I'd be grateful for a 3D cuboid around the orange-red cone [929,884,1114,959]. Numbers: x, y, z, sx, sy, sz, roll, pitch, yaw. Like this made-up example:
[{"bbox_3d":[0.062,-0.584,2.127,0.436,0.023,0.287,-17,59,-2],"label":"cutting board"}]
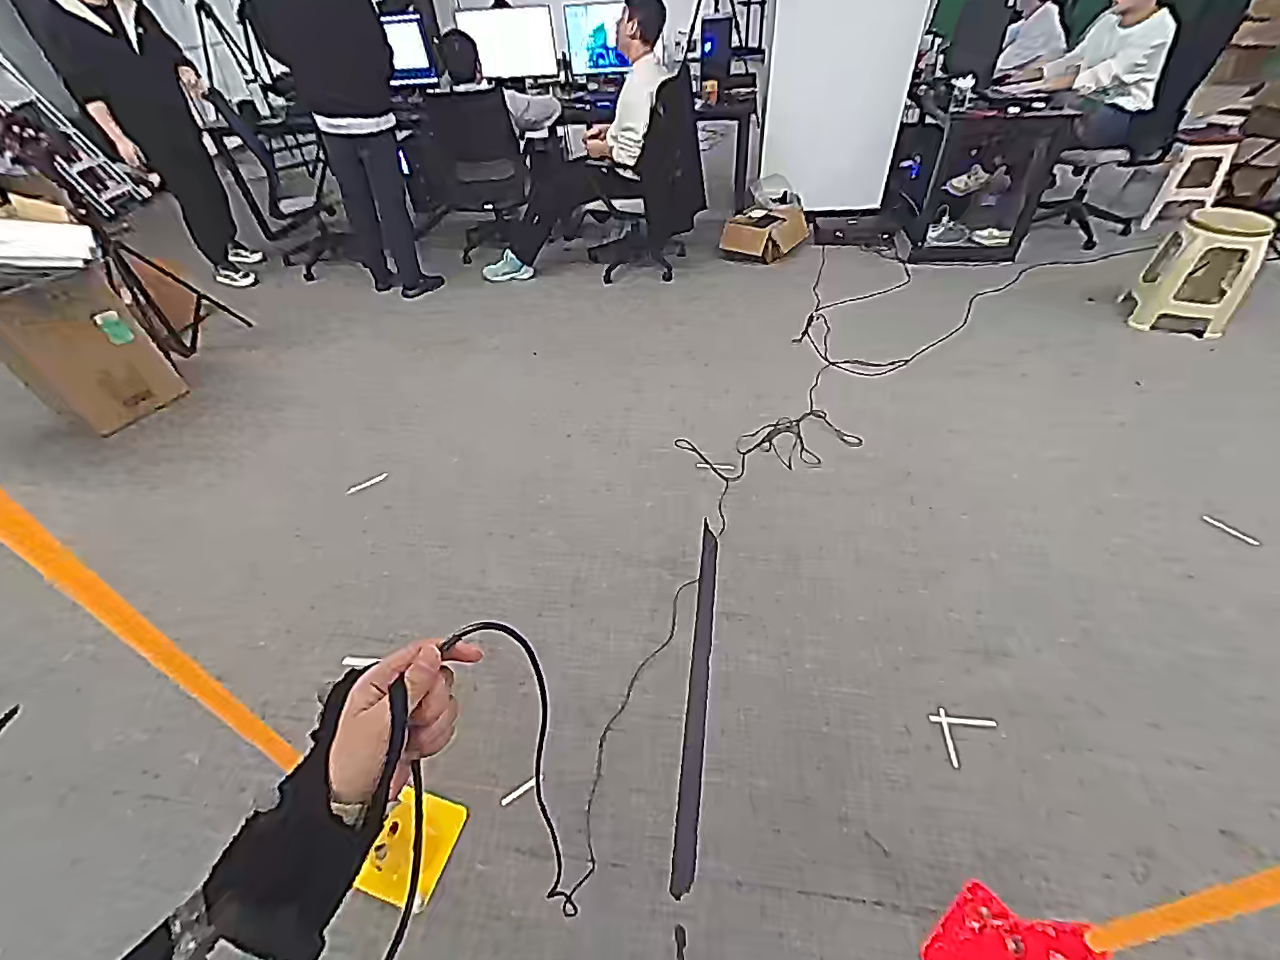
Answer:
[{"bbox_3d":[0.645,0.763,0.861,0.199,0.360,0.198,-29,48,-22],"label":"orange-red cone"}]
